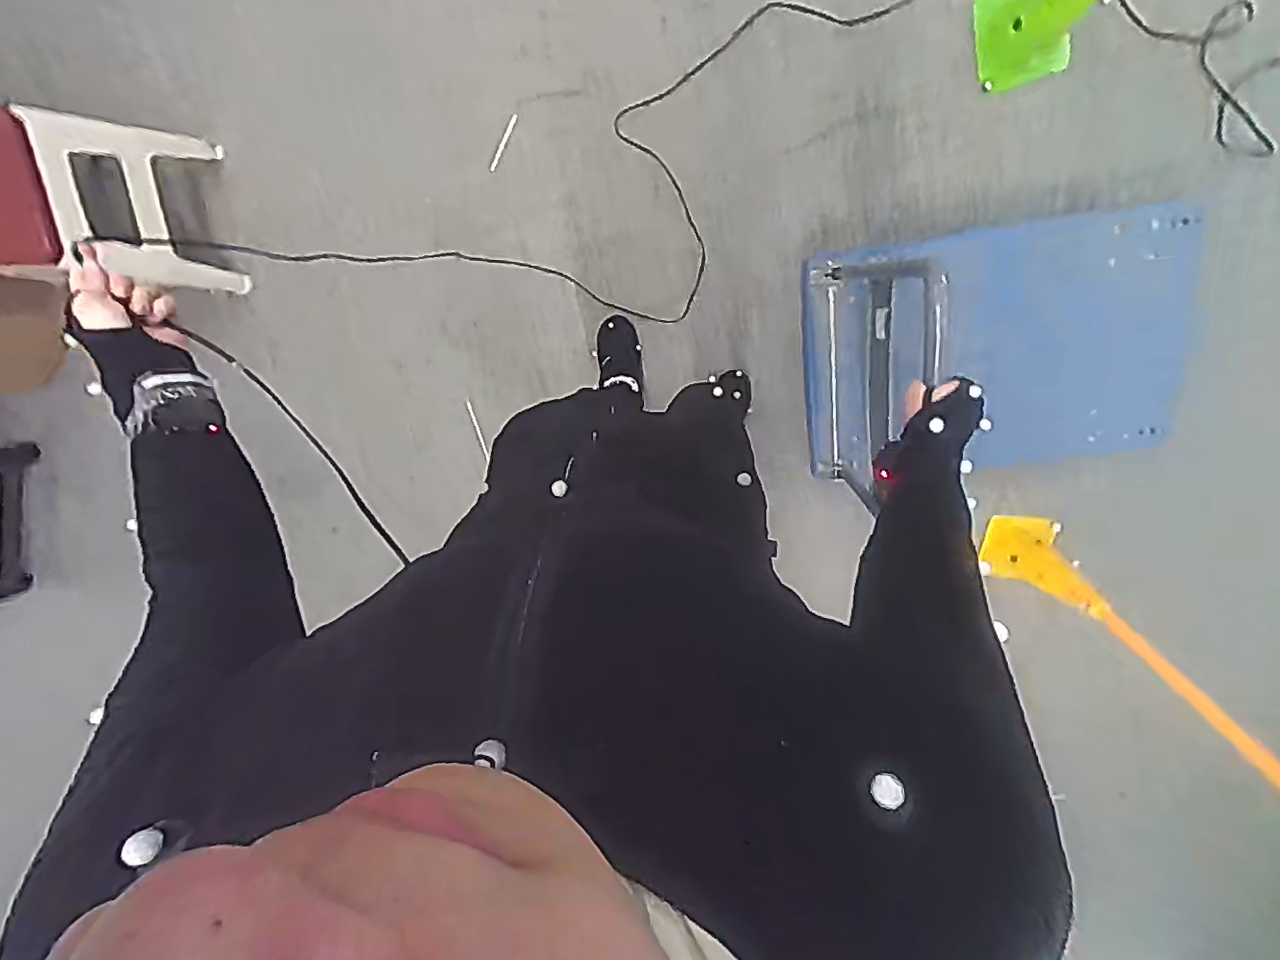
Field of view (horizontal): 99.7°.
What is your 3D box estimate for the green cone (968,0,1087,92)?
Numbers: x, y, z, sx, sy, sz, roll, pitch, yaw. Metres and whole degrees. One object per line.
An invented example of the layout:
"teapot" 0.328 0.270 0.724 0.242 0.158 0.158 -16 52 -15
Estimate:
"green cone" 0.856 -0.978 1.077 0.200 0.368 0.202 -15 105 9
